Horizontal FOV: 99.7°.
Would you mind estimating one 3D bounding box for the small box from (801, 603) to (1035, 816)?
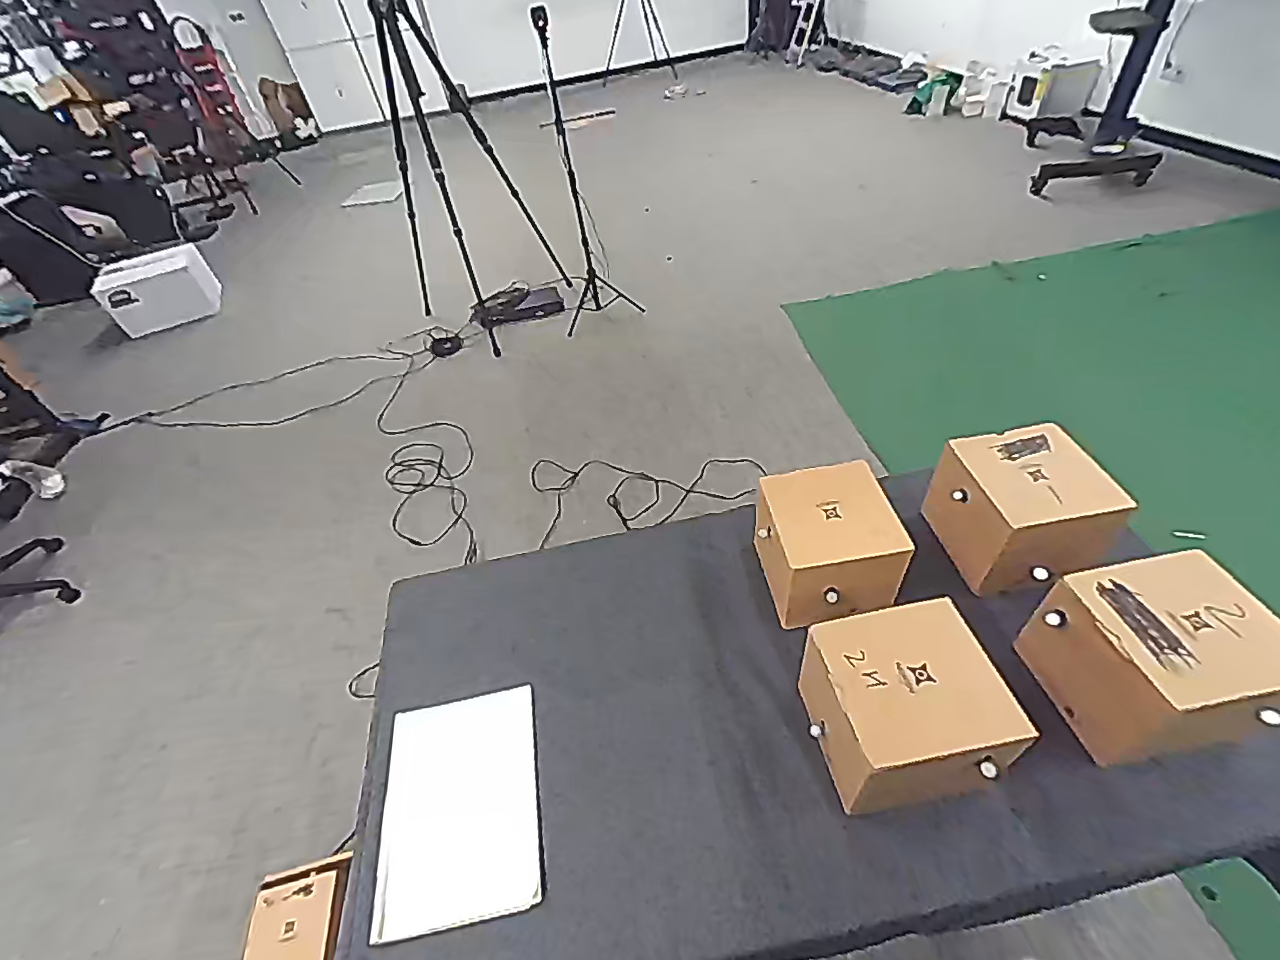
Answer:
[{"bbox_3d":[0.306,0.275,0.644,0.179,0.176,0.168,-11,44,0],"label":"small box"}]

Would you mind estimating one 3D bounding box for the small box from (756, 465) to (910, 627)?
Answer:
[{"bbox_3d":[0.278,0.106,0.821,0.168,0.176,0.179,-10,45,1],"label":"small box"}]

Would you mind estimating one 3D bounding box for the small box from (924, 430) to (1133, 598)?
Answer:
[{"bbox_3d":[0.563,0.052,0.818,0.168,0.176,0.179,-10,46,1],"label":"small box"}]
